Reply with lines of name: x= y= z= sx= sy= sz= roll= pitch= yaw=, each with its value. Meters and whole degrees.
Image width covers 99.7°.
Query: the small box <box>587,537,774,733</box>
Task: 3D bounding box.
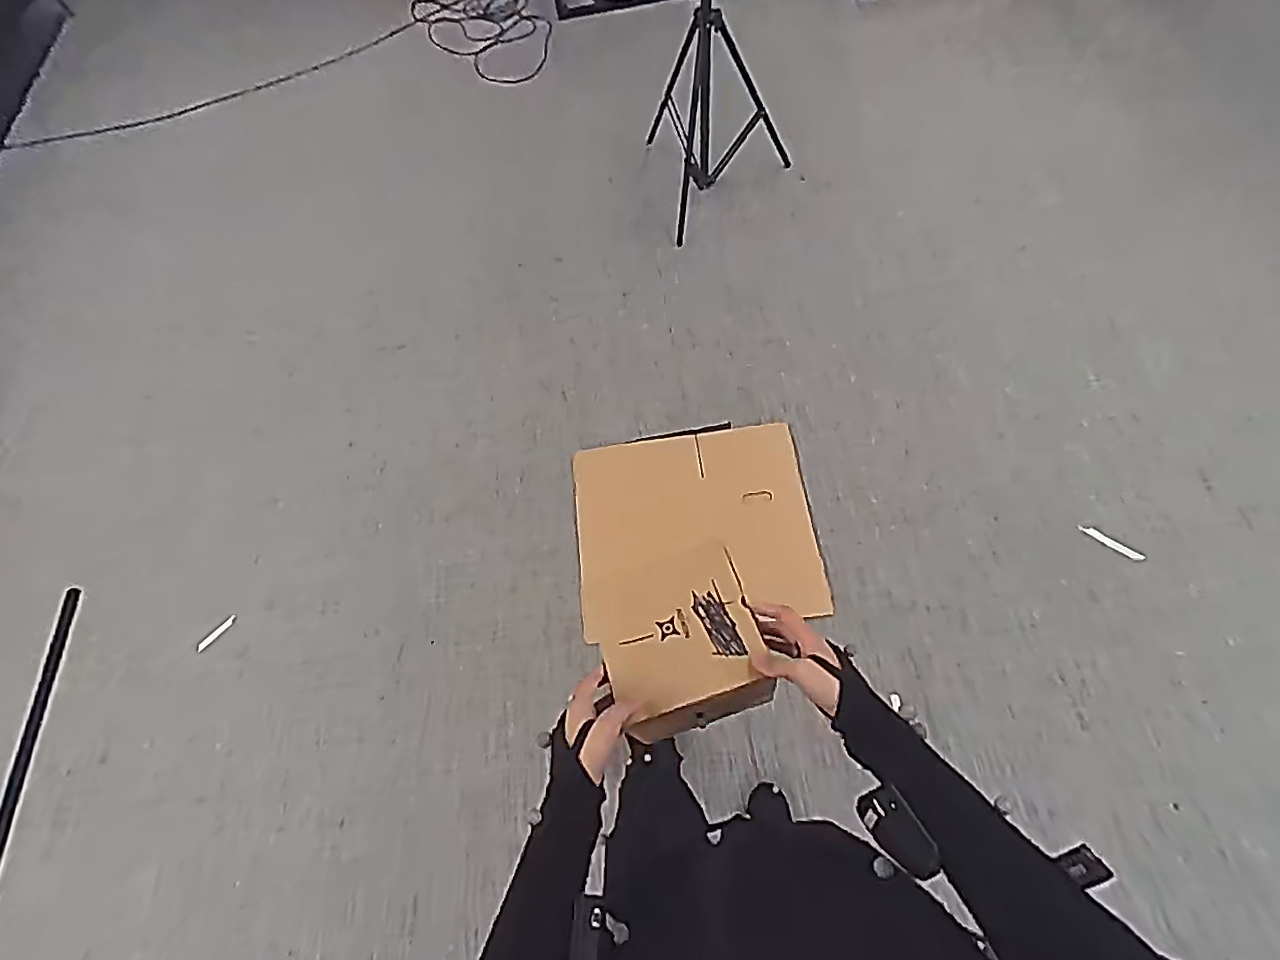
small box: x=0.051 y=0.199 z=0.676 sx=0.179 sy=0.176 sz=0.168 roll=-19 pitch=57 yaw=0
